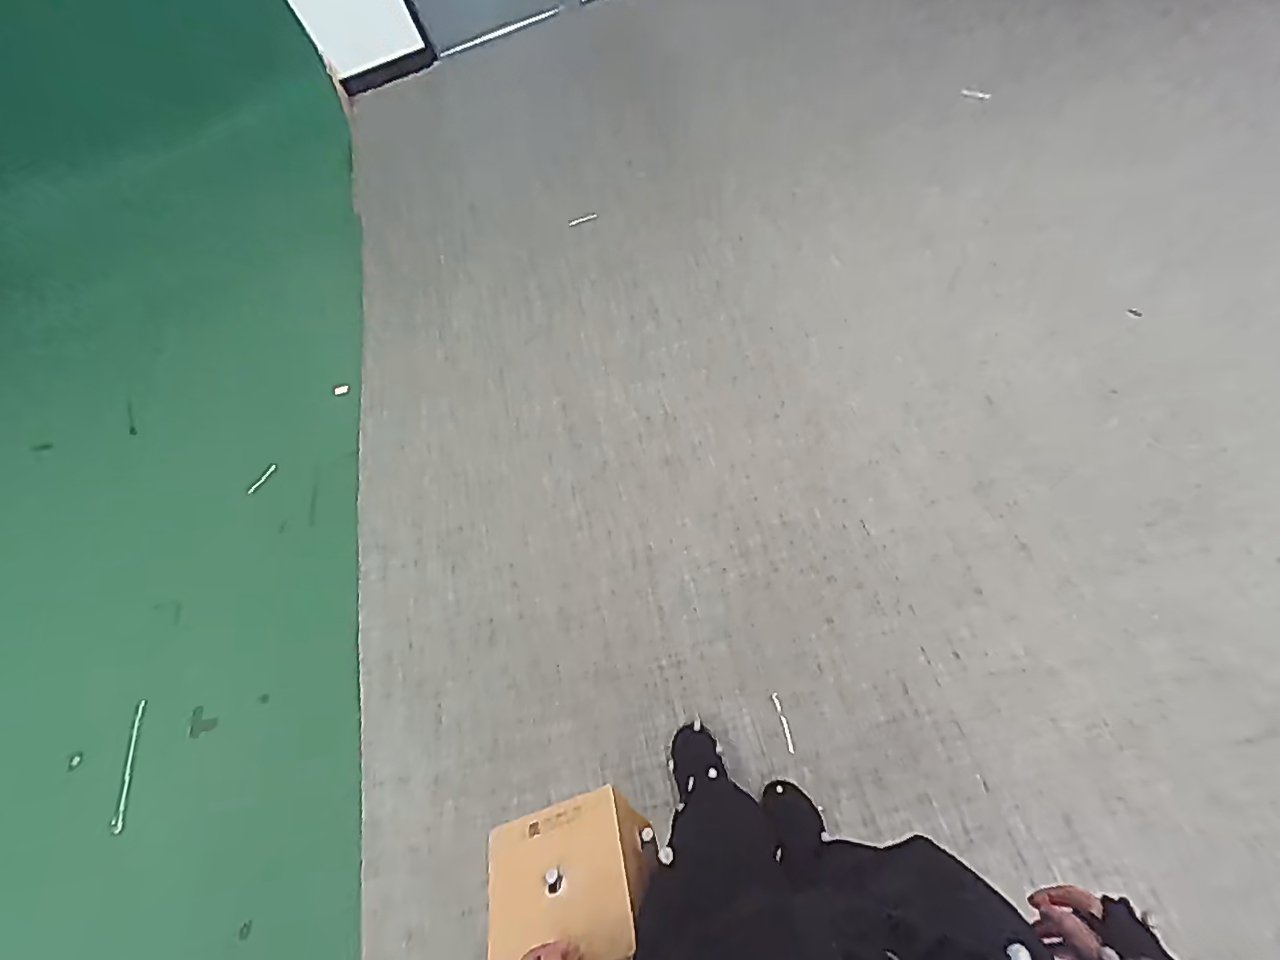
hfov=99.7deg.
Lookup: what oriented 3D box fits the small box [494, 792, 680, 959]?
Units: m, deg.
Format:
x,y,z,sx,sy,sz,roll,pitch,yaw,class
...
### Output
x,y,z,sx,sy,sz,roll,pitch,yaw,class
-0.067,0.508,0.652,0.168,0.179,0.176,-22,39,1,small box
